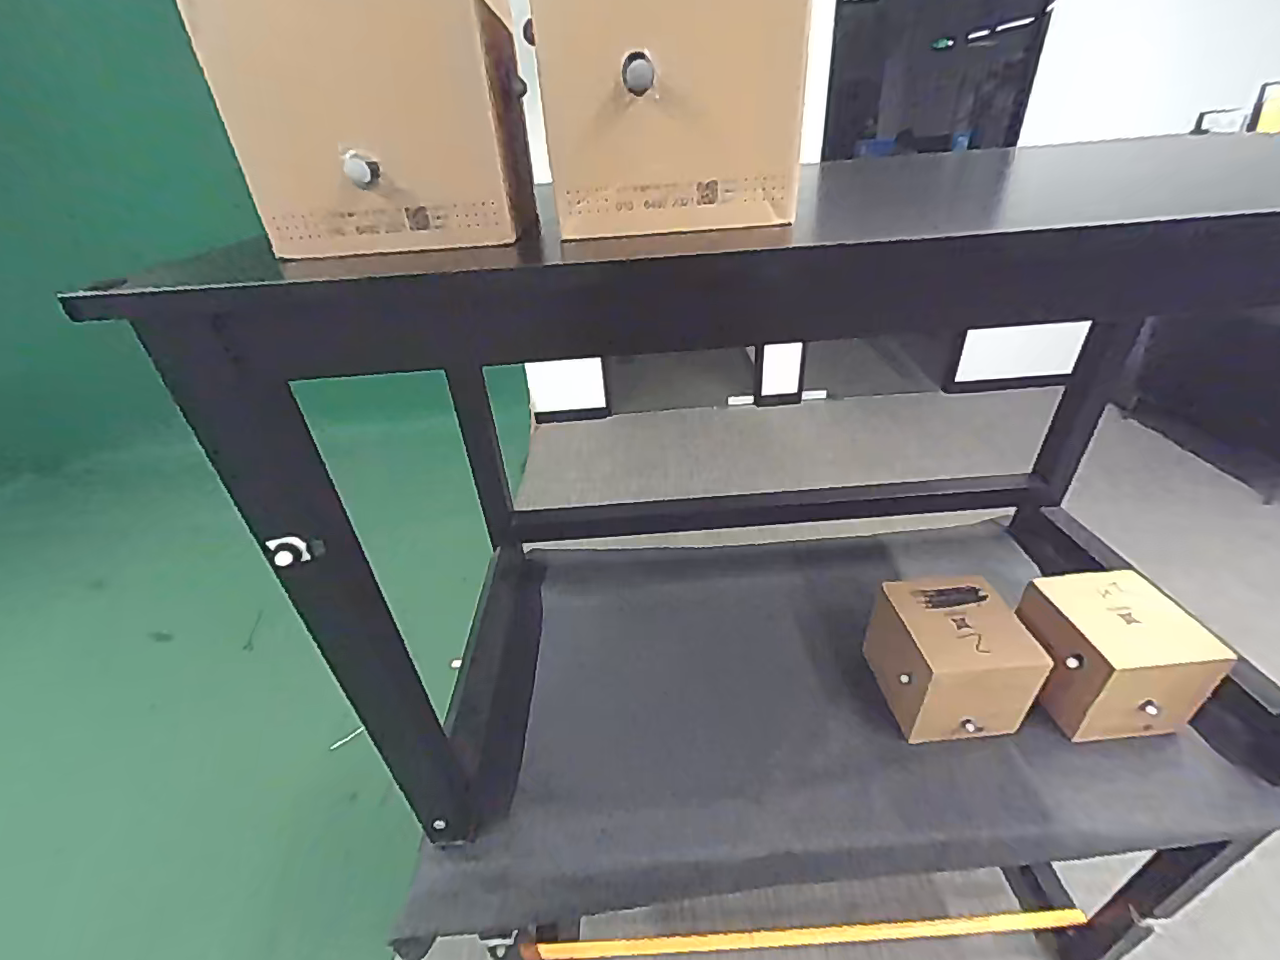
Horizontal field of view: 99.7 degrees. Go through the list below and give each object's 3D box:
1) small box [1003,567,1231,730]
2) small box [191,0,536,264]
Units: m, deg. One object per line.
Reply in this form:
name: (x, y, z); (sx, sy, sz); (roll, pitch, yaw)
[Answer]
small box: (0.702, 0.260, 0.825); (0.168, 0.176, 0.179); (-5, 32, -1)
small box: (-0.178, -0.268, 0.407); (0.168, 0.176, 0.179); (-5, 34, 0)
